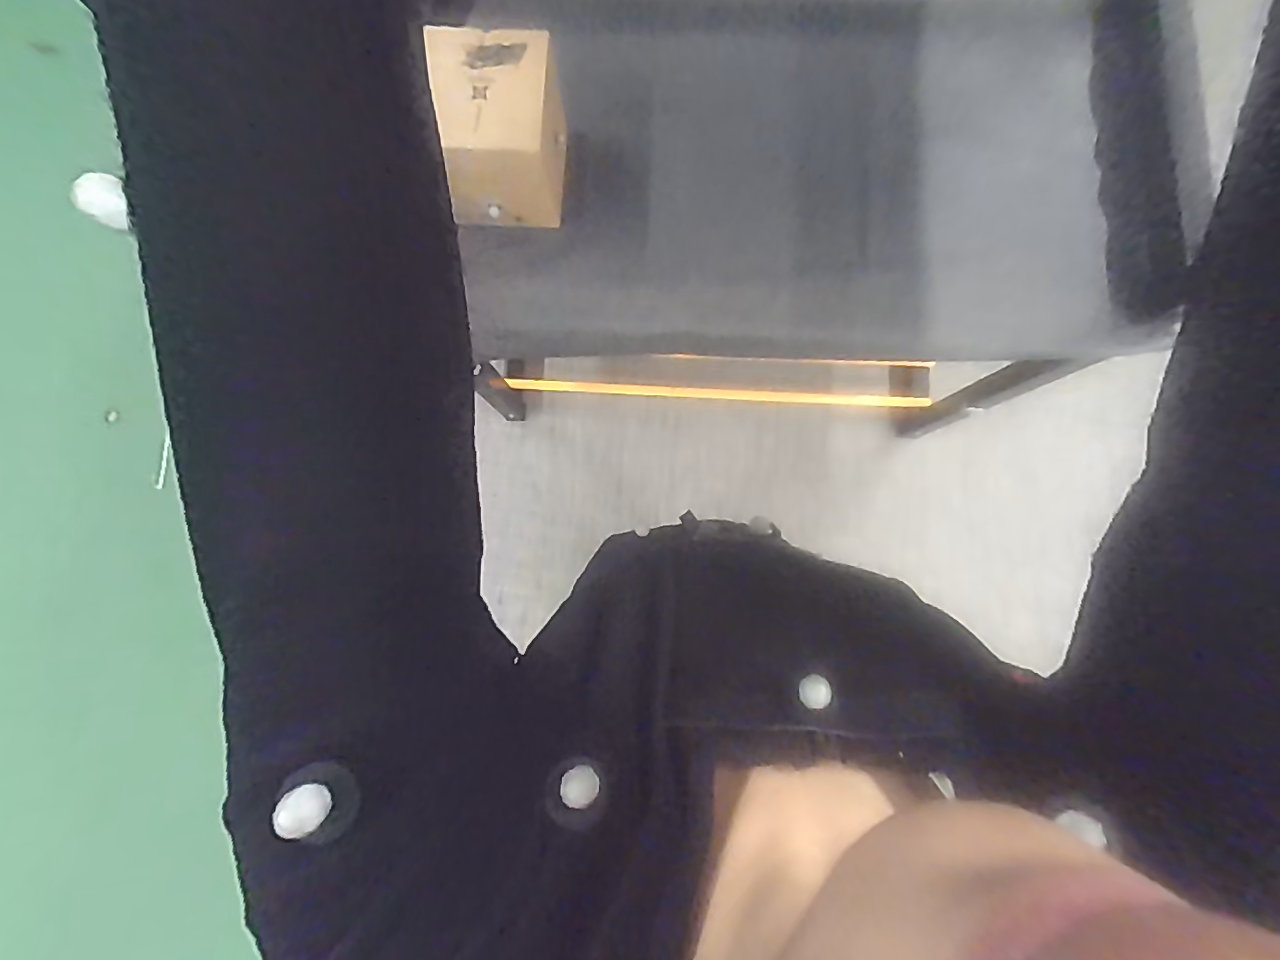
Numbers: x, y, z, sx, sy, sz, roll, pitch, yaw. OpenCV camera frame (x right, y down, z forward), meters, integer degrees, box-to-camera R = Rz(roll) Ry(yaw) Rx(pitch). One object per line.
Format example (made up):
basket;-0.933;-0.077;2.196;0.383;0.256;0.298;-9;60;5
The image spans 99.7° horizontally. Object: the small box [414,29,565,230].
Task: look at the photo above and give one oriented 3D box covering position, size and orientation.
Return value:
small box;-0.204;-0.495;0.780;0.168;0.176;0.179;2;82;1
